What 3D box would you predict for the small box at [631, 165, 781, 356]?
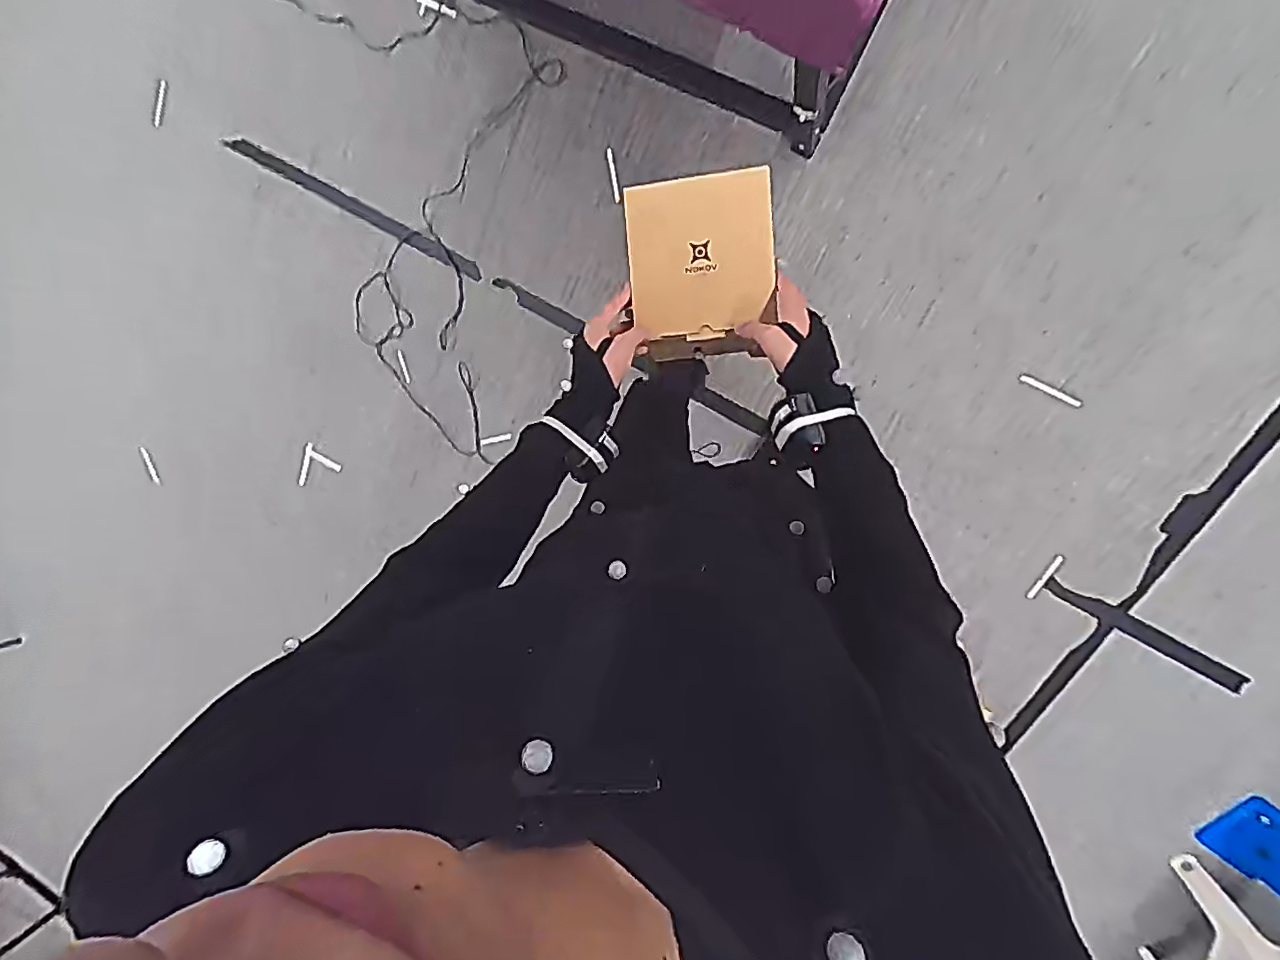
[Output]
[{"bbox_3d":[0.085,-0.263,0.689,0.168,0.176,0.179,-3,95,9],"label":"small box"}]
